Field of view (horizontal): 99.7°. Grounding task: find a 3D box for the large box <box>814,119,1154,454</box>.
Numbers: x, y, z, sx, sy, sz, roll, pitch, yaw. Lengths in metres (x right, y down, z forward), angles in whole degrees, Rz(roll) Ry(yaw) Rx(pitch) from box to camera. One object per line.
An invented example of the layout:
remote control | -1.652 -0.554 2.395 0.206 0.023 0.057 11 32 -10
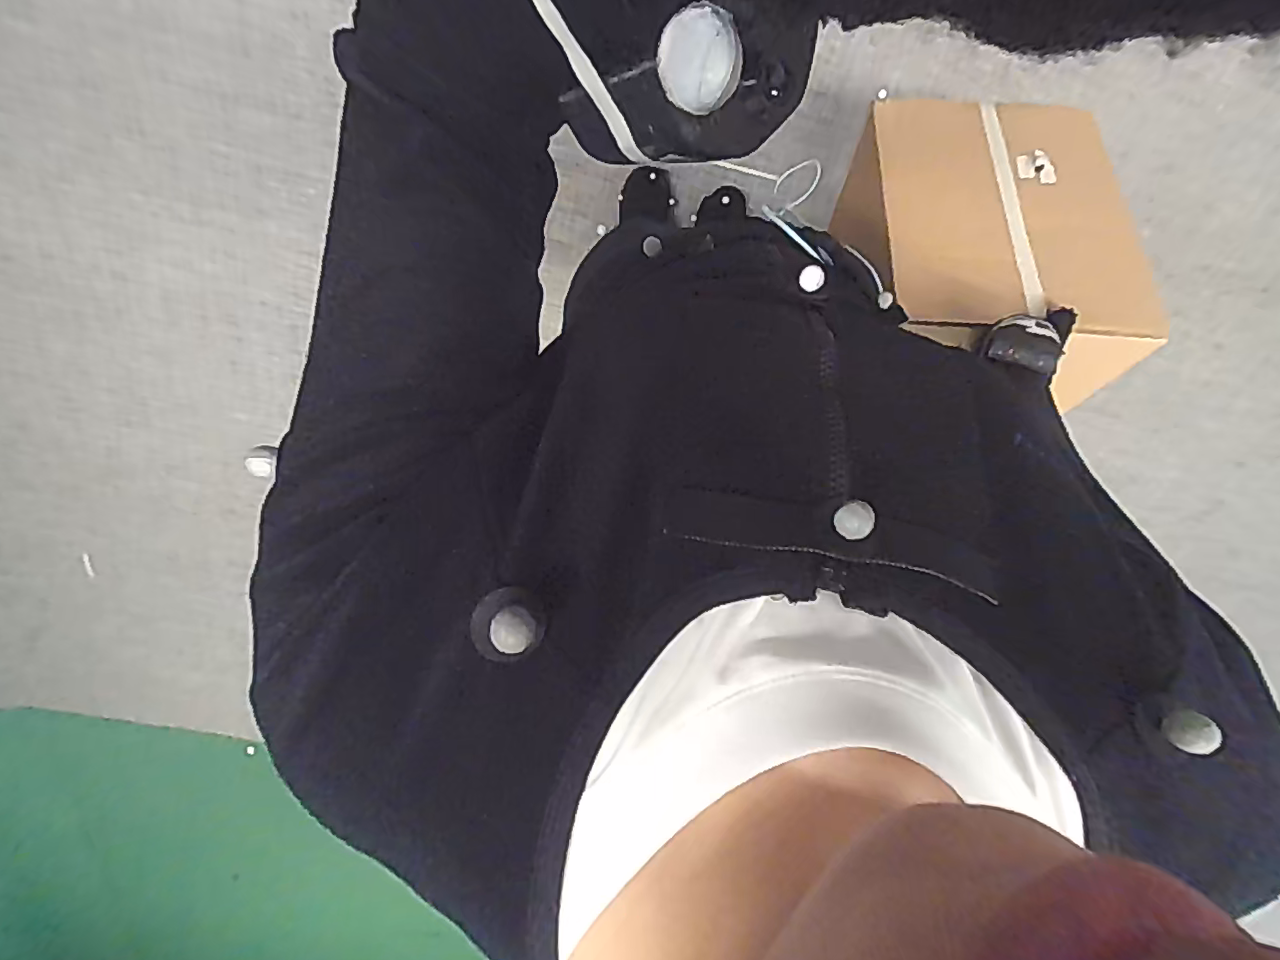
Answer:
large box | 0.478 -0.287 0.862 0.320 0.408 0.320 5 157 2
